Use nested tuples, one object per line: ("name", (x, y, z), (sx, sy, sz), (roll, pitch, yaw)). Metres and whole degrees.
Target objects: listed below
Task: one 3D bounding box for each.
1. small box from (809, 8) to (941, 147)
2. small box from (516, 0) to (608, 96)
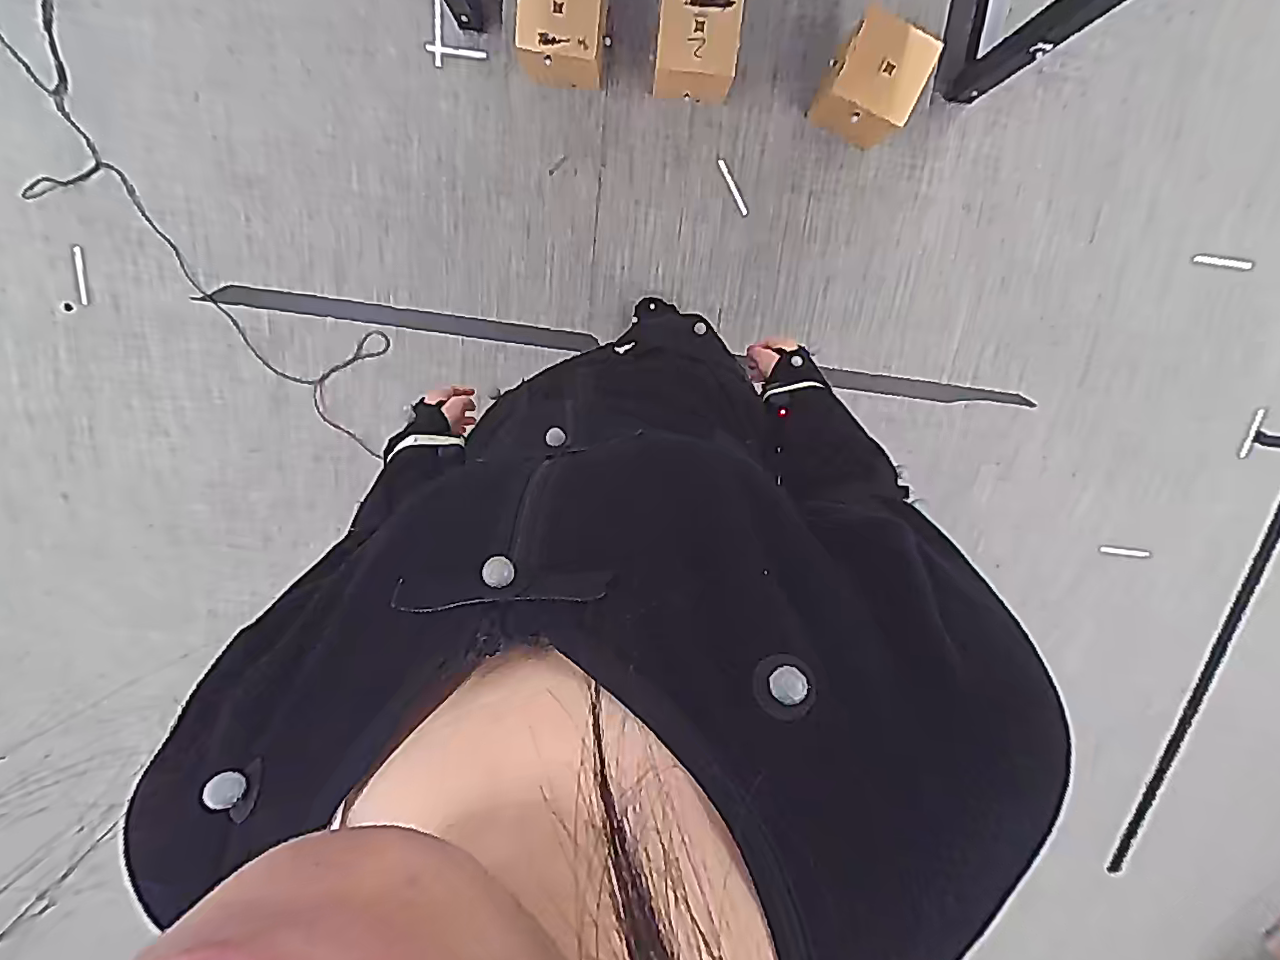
("small box", (0.506, -0.868, 1.191), (0.179, 0.176, 0.168), (23, 105, -6))
("small box", (-0.160, -0.963, 1.149), (0.168, 0.176, 0.179), (9, 104, -4))
